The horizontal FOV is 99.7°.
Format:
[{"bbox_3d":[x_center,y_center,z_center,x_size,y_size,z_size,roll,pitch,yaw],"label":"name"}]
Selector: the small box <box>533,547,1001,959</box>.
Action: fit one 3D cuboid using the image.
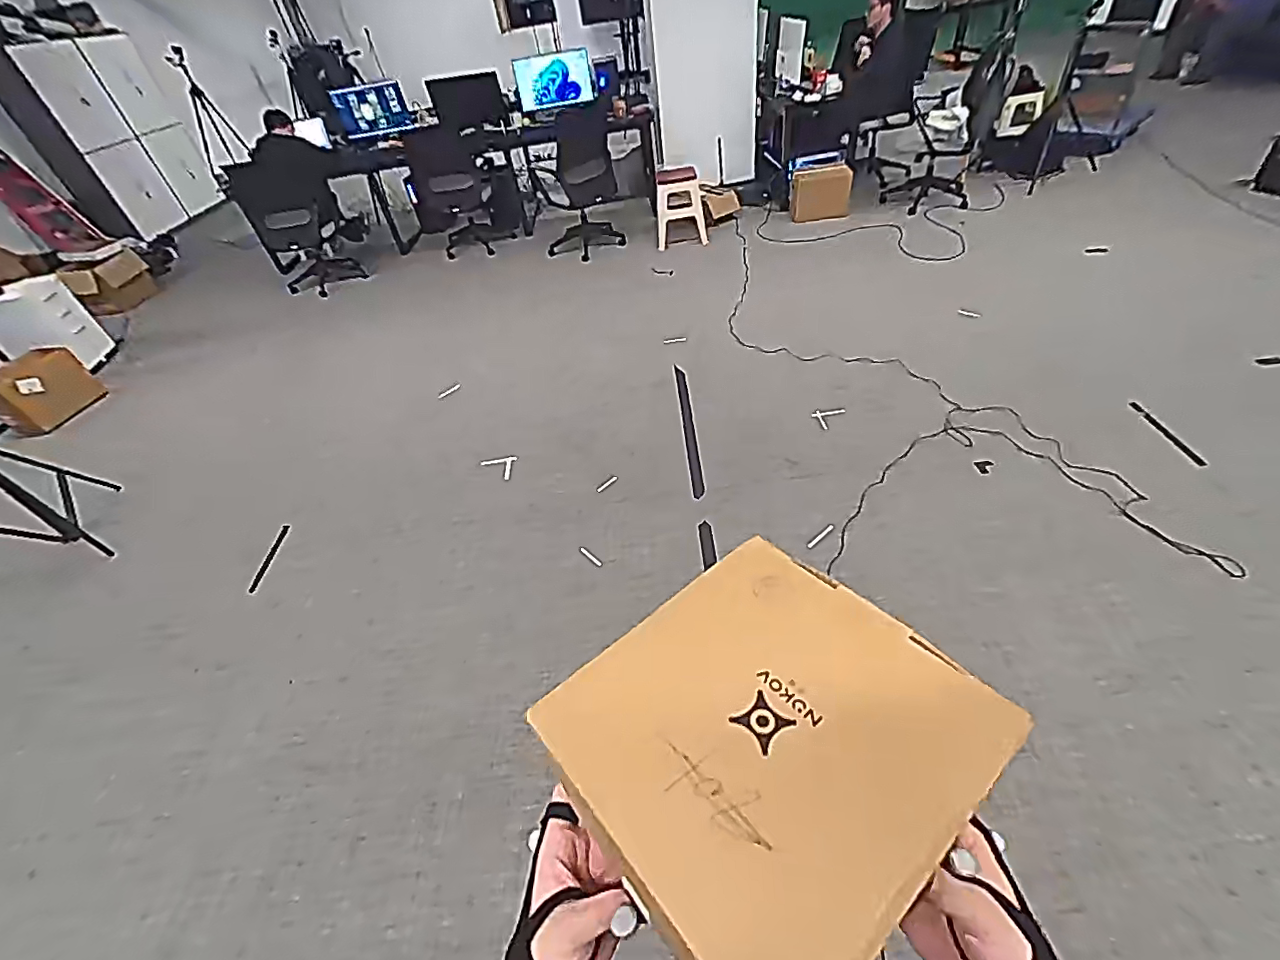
[{"bbox_3d":[0.065,0.180,0.321,0.179,0.176,0.168,-32,45,-26],"label":"small box"}]
